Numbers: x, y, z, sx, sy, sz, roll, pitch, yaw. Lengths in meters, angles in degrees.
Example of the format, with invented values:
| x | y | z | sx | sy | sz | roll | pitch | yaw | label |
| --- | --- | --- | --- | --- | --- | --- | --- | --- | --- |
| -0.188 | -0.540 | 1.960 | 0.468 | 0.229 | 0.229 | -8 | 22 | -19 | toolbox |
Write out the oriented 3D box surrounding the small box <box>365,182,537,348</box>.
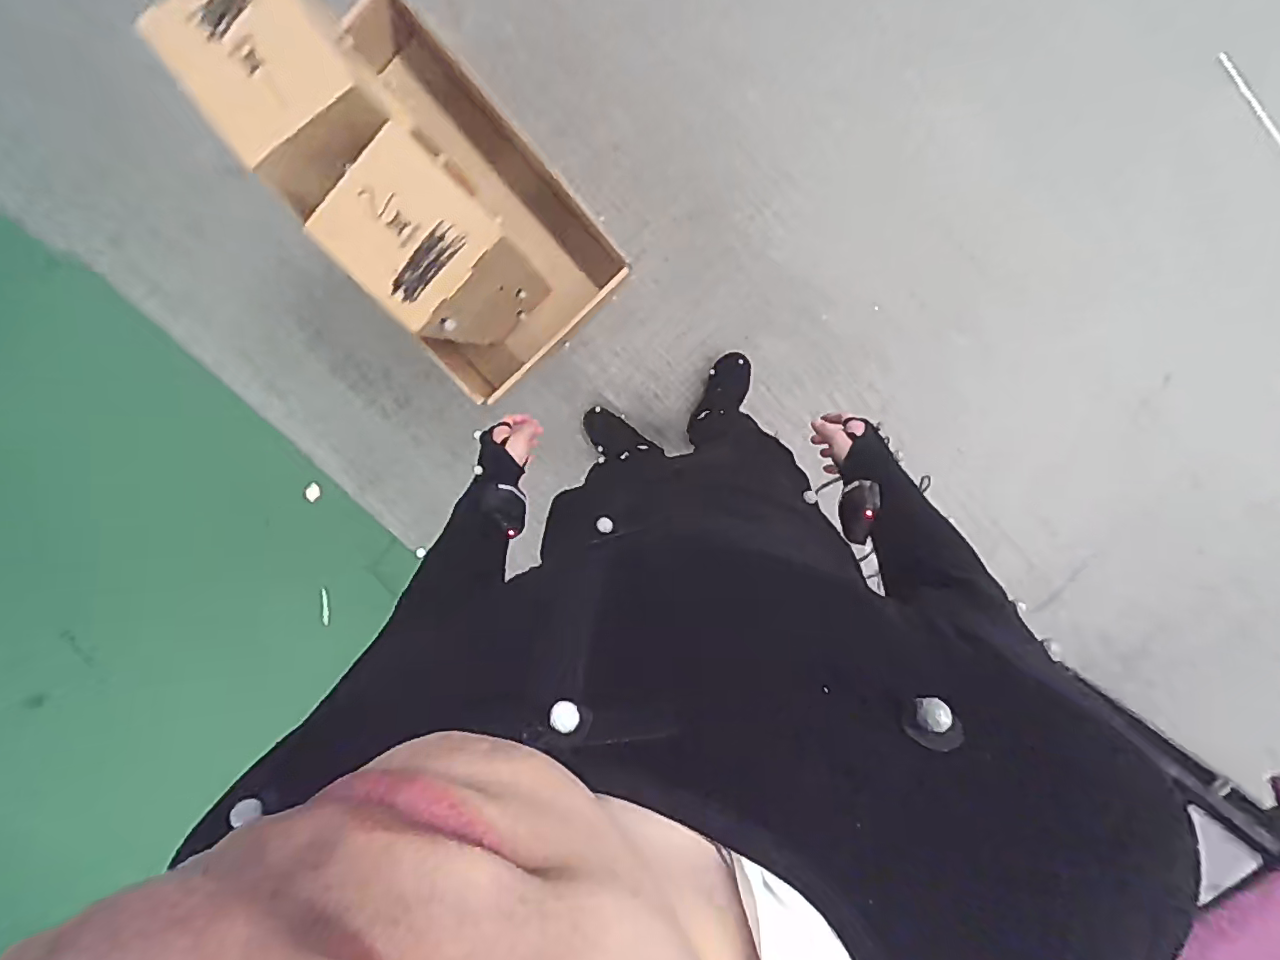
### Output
| x | y | z | sx | sy | sz | roll | pitch | yaw | label |
| --- | --- | --- | --- | --- | --- | --- | --- | --- | --- |
| -0.290 | -0.333 | 0.877 | 0.168 | 0.176 | 0.179 | -45 | 98 | 7 | small box |

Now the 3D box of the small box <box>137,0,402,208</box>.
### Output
| x | y | z | sx | sy | sz | roll | pitch | yaw | label |
| --- | --- | --- | --- | --- | --- | --- | --- | --- | --- |
| -0.444 | -0.483 | 0.682 | 0.168 | 0.176 | 0.179 | -33 | 102 | 6 | small box |

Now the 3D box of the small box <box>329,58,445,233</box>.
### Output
| x | y | z | sx | sy | sz | roll | pitch | yaw | label |
| --- | --- | --- | --- | --- | --- | --- | --- | --- | --- |
| -0.442 | -0.518 | 0.842 | 0.168 | 0.176 | 0.179 | -43 | 101 | 7 | small box |
